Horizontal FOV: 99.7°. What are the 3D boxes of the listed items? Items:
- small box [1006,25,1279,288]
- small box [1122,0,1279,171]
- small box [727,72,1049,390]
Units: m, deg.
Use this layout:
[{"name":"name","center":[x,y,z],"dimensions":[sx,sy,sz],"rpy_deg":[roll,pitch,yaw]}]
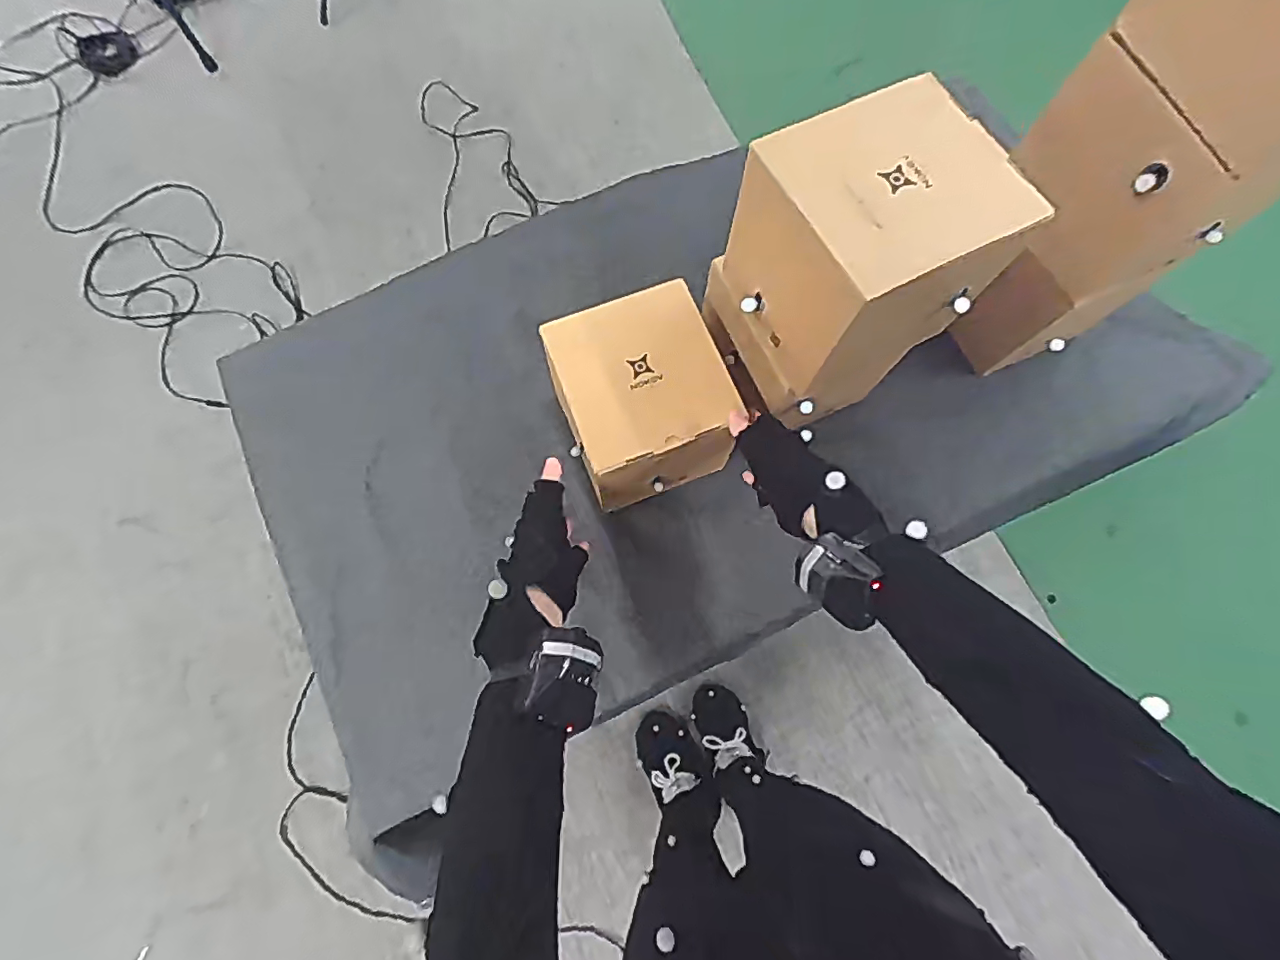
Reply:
[{"name":"small box","center":[0.503,-0.315,0.528],"dimensions":[0.168,0.176,0.179],"rpy_deg":[-21,75,-7]},{"name":"small box","center":[0.504,-0.359,0.370],"dimensions":[0.168,0.176,0.179],"rpy_deg":[-20,74,-5]},{"name":"small box","center":[0.201,-0.212,0.497],"dimensions":[0.179,0.176,0.168],"rpy_deg":[-26,75,-8]}]
